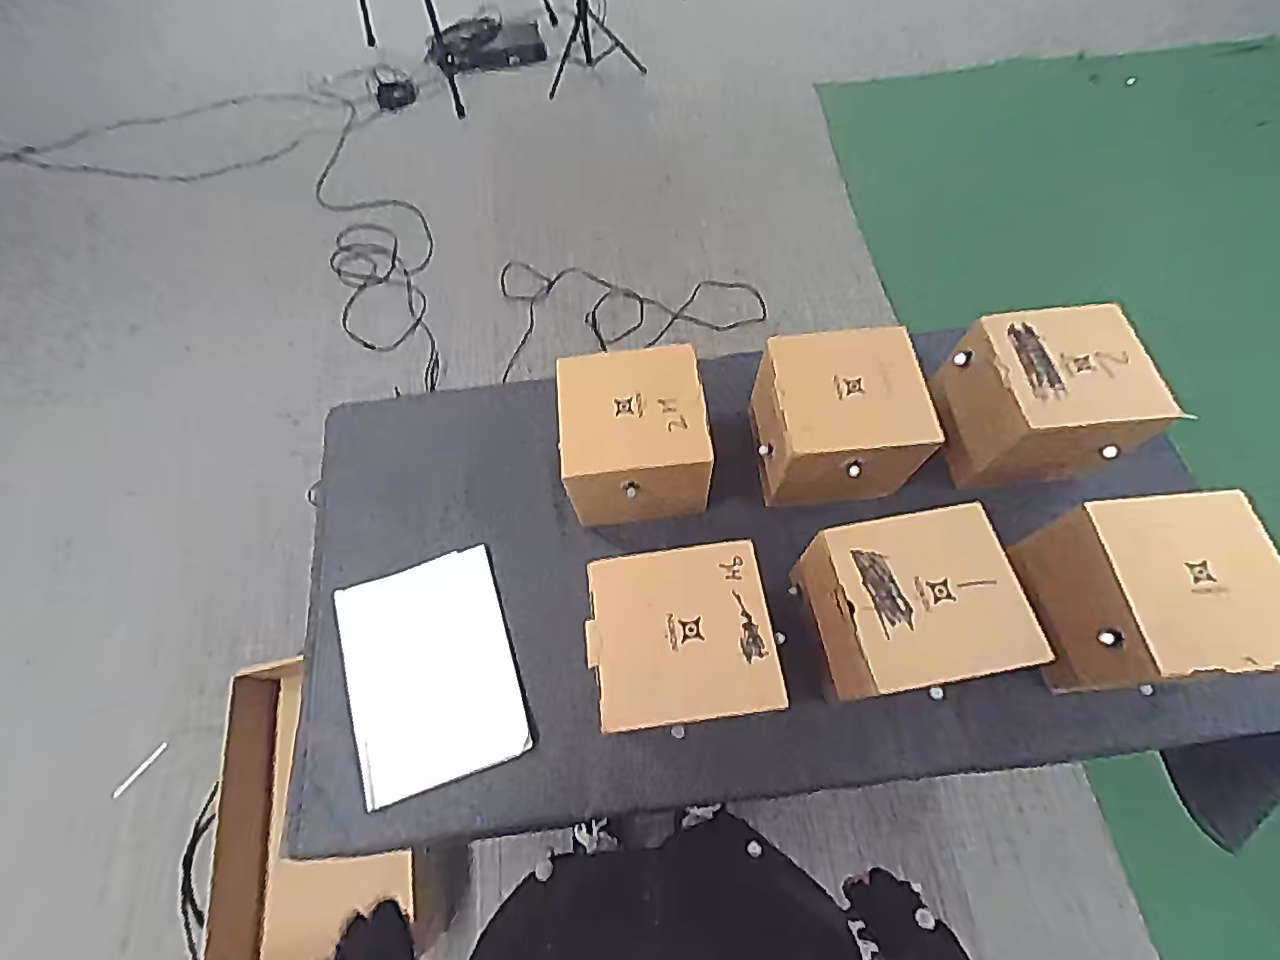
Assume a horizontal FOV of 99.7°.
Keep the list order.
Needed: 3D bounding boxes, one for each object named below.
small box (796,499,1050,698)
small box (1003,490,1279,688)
[{"bbox_3d":[0.287,0.140,0.604,0.179,0.176,0.168,-9,65,-3],"label":"small box"},{"bbox_3d":[0.549,0.127,0.602,0.168,0.176,0.179,-4,65,0],"label":"small box"}]
